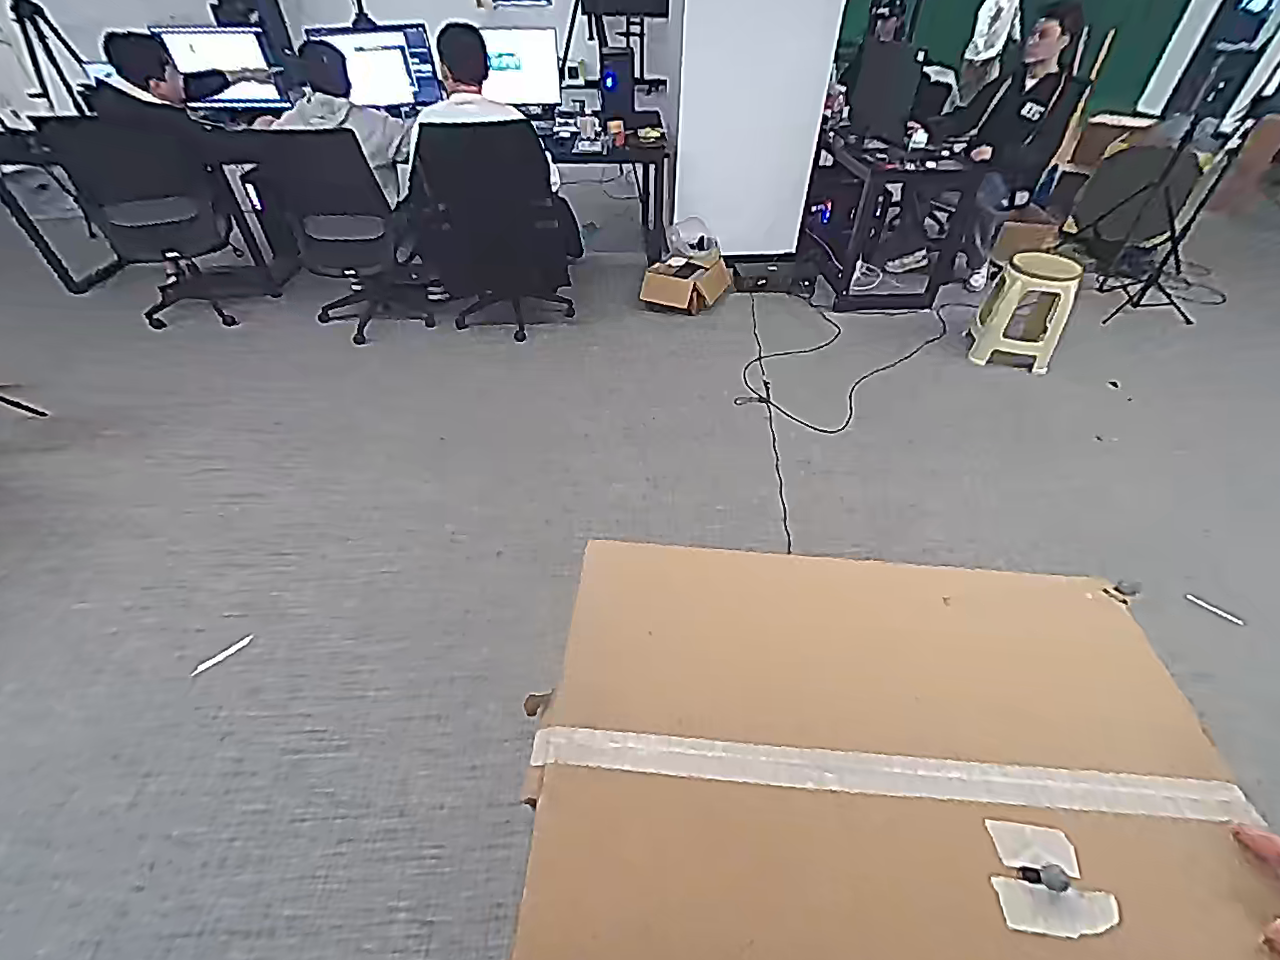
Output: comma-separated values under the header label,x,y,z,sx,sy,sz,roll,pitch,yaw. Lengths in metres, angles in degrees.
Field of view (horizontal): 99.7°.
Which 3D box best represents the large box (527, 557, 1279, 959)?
label,x,y,z,sx,sy,sz,roll,pitch,yaw
large box,0.140,0.286,0.433,0.408,0.320,0.320,4,46,1
